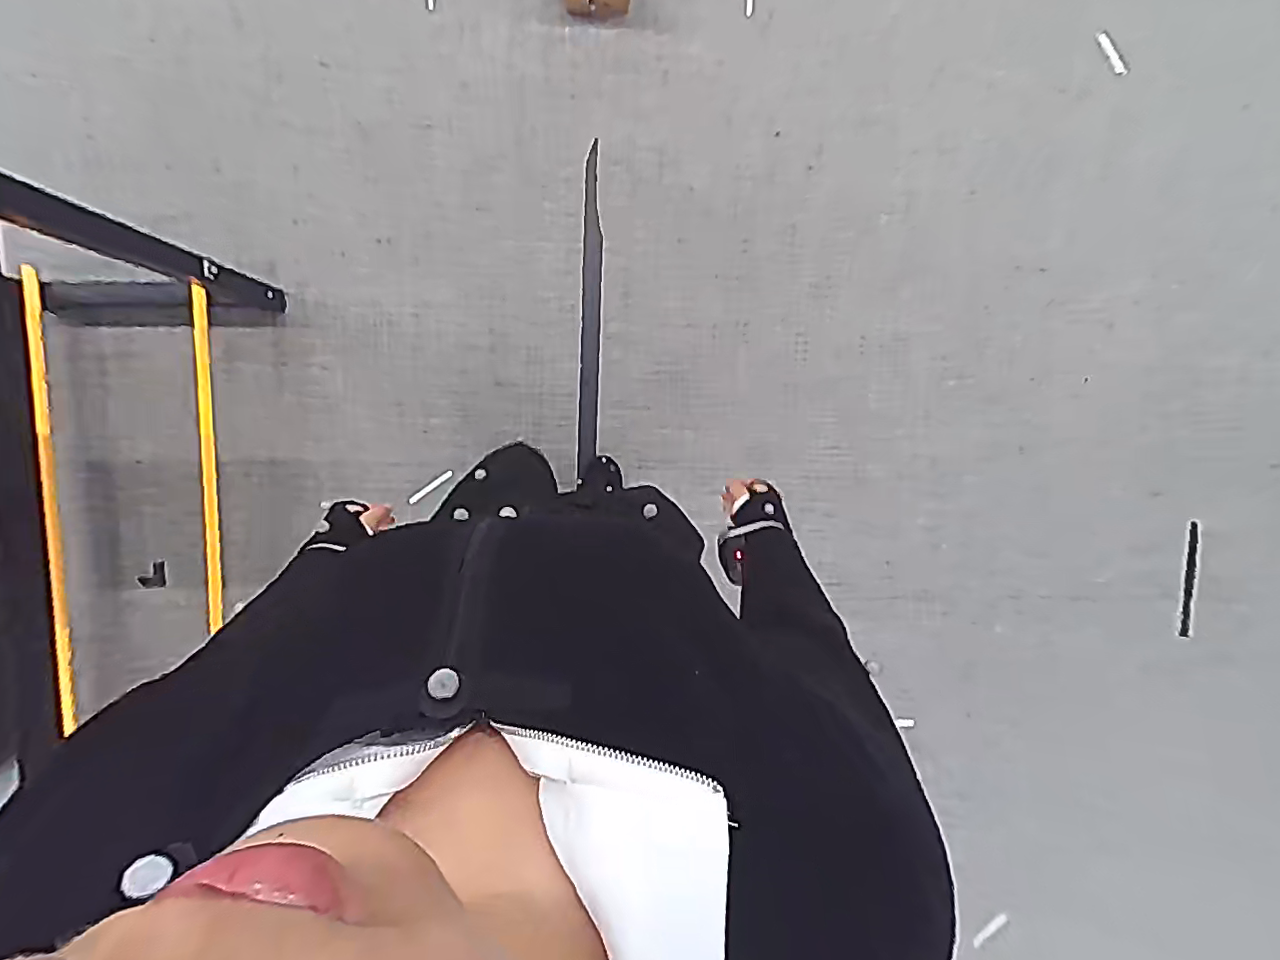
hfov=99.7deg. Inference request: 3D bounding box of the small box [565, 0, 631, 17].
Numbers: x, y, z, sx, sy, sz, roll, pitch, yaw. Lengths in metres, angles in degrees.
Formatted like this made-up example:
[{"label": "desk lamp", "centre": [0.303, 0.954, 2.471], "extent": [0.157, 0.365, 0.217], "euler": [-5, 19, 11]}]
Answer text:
[{"label": "small box", "centre": [-0.104, -1.251, 1.276], "extent": [0.168, 0.176, 0.179], "euler": [-4, 97, -3]}]
